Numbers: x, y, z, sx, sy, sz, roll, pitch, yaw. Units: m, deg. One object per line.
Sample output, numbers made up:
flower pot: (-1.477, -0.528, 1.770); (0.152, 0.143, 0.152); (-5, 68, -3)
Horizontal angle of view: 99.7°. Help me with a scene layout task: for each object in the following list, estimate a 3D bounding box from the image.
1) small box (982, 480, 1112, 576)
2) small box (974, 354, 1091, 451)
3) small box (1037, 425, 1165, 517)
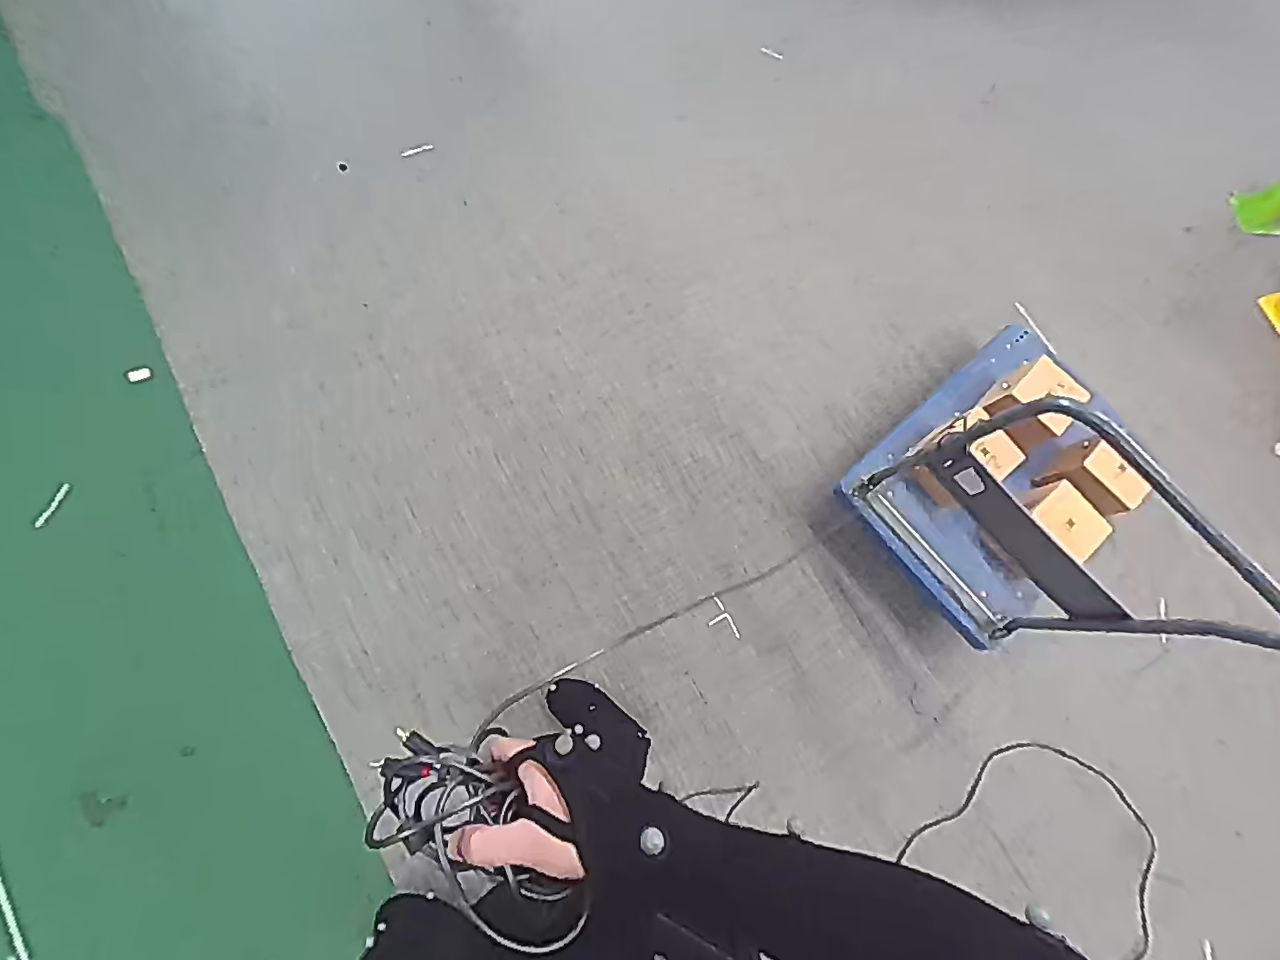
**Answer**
small box: (1.042, 0.129, 1.398); (0.179, 0.176, 0.168); (-36, 82, -15)
small box: (1.071, -0.206, 1.494); (0.179, 0.176, 0.168); (-42, 84, -16)
small box: (1.235, -0.014, 1.463); (0.179, 0.176, 0.168); (-40, 82, -15)
